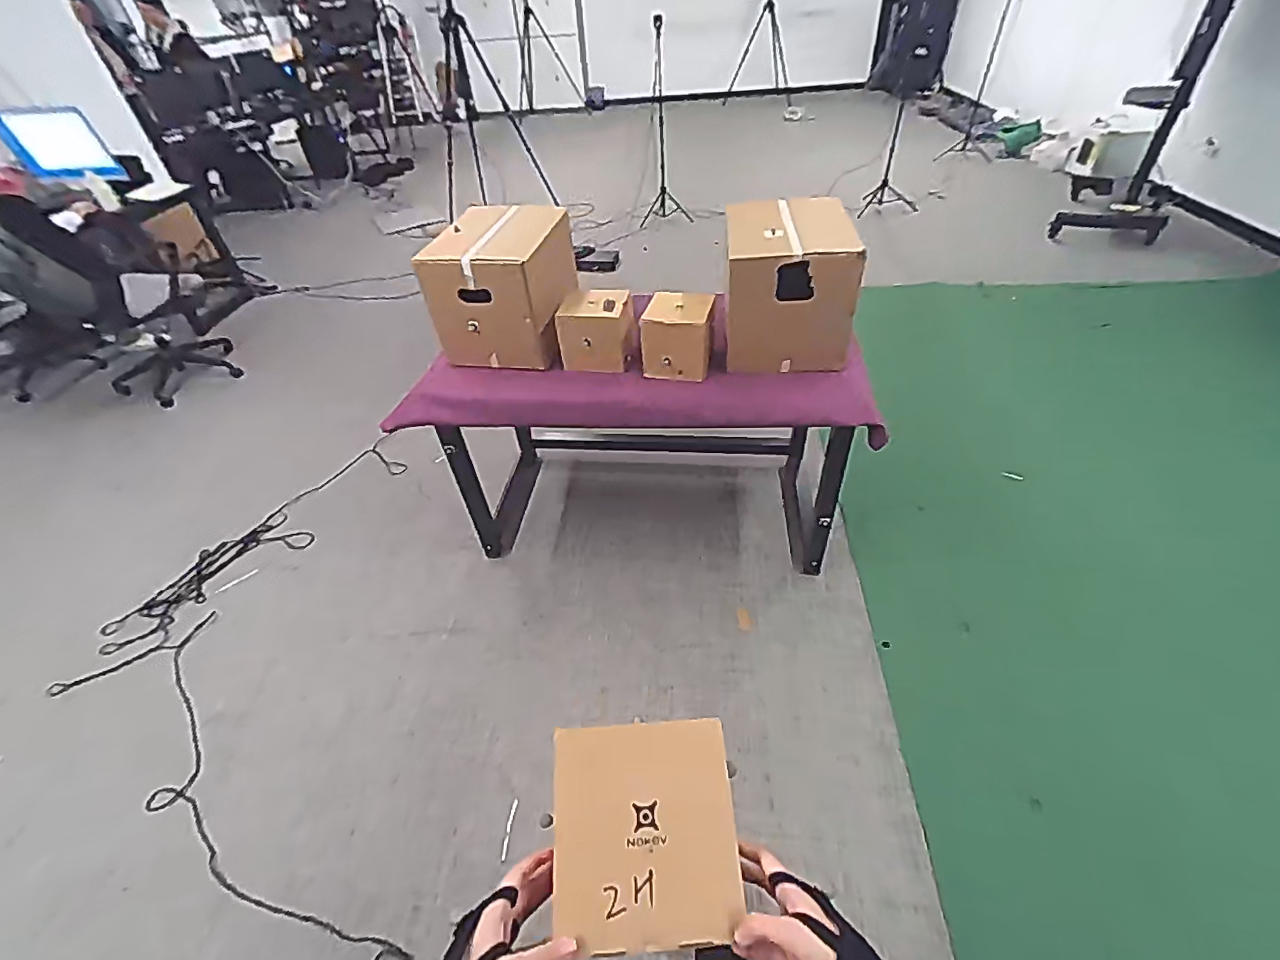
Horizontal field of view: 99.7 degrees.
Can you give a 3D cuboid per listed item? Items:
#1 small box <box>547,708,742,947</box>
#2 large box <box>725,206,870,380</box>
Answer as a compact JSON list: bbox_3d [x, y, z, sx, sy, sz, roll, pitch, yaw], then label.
[{"bbox_3d":[-0.005,0.344,0.555,0.168,0.176,0.179,-1,59,-5],"label":"small box"},{"bbox_3d":[0.398,-0.516,1.480,0.320,0.320,0.408,-1,43,8],"label":"large box"}]
